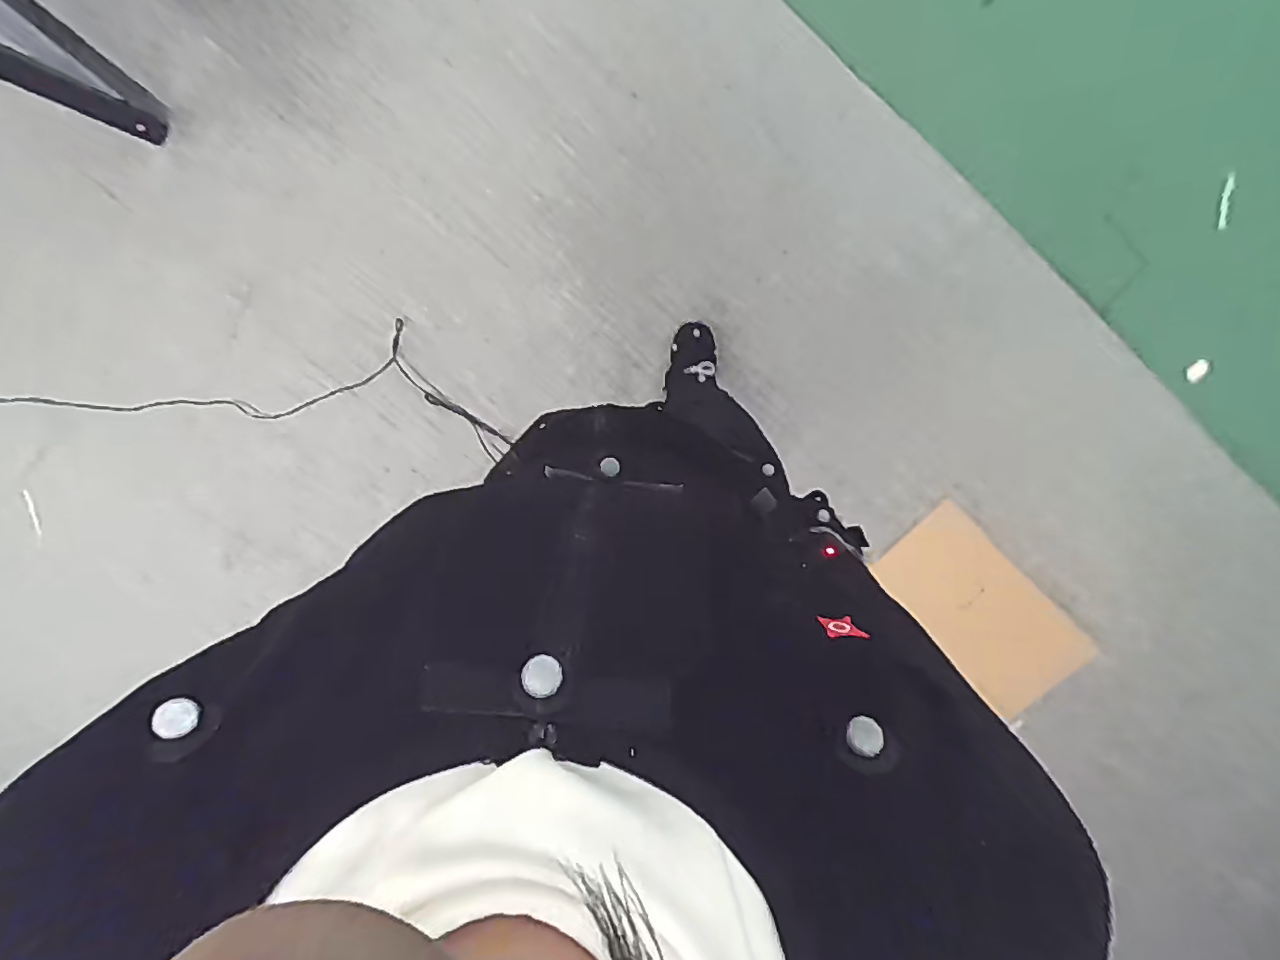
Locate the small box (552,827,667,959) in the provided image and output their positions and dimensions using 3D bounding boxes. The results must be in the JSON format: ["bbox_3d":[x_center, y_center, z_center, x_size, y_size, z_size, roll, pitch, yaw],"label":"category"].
[{"bbox_3d":[-0.050,0.801,1.033,0.179,0.176,0.168,-12,102,7],"label":"small box"}]
